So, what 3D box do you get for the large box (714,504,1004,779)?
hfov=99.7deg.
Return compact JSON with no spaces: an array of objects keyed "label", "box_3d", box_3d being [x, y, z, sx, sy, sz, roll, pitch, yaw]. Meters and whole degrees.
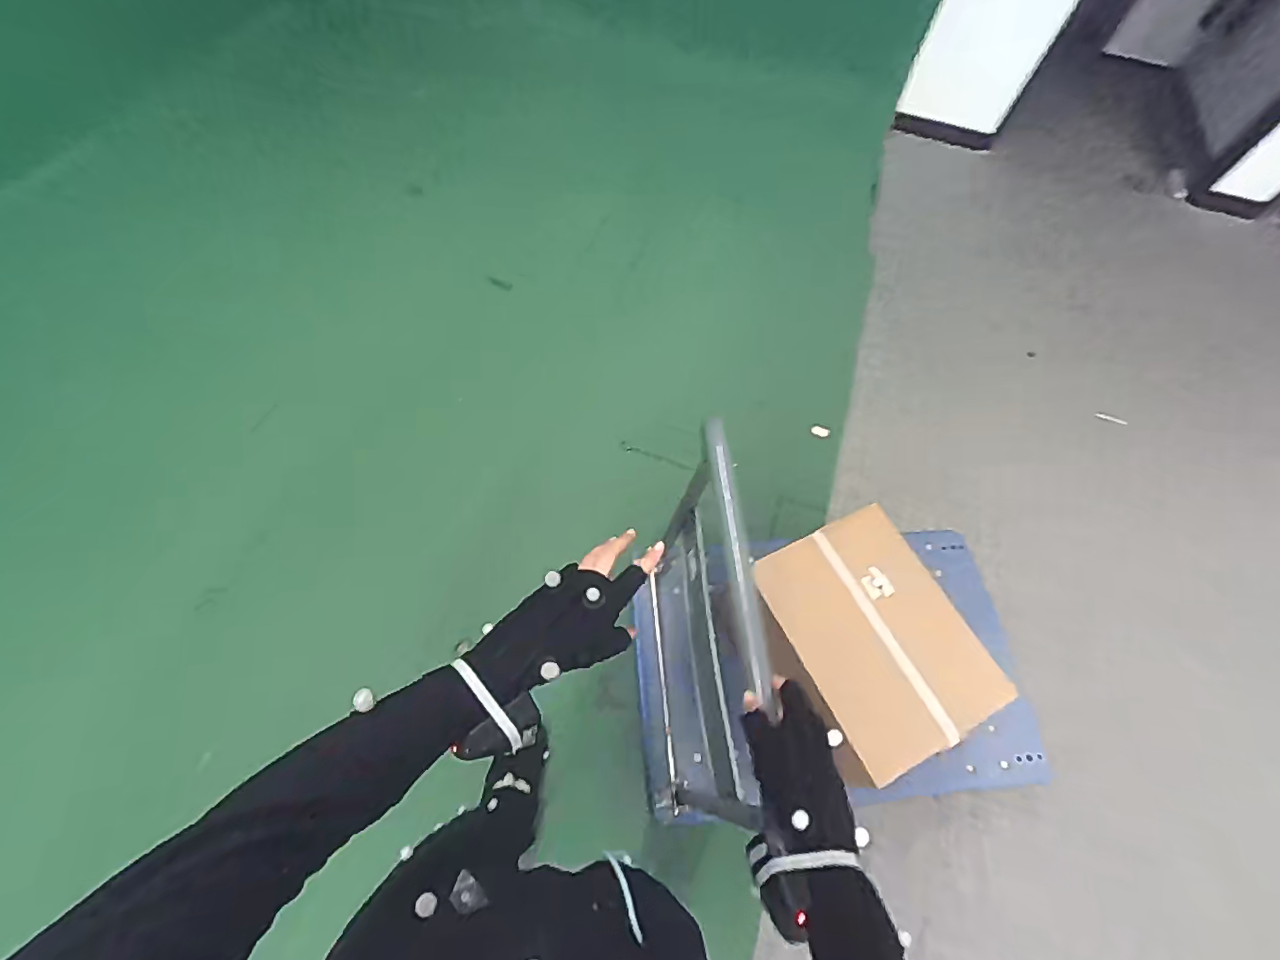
[{"label":"large box","box_3d":[0.401,0.331,1.102,0.320,0.320,0.408,-23,65,-16]}]
